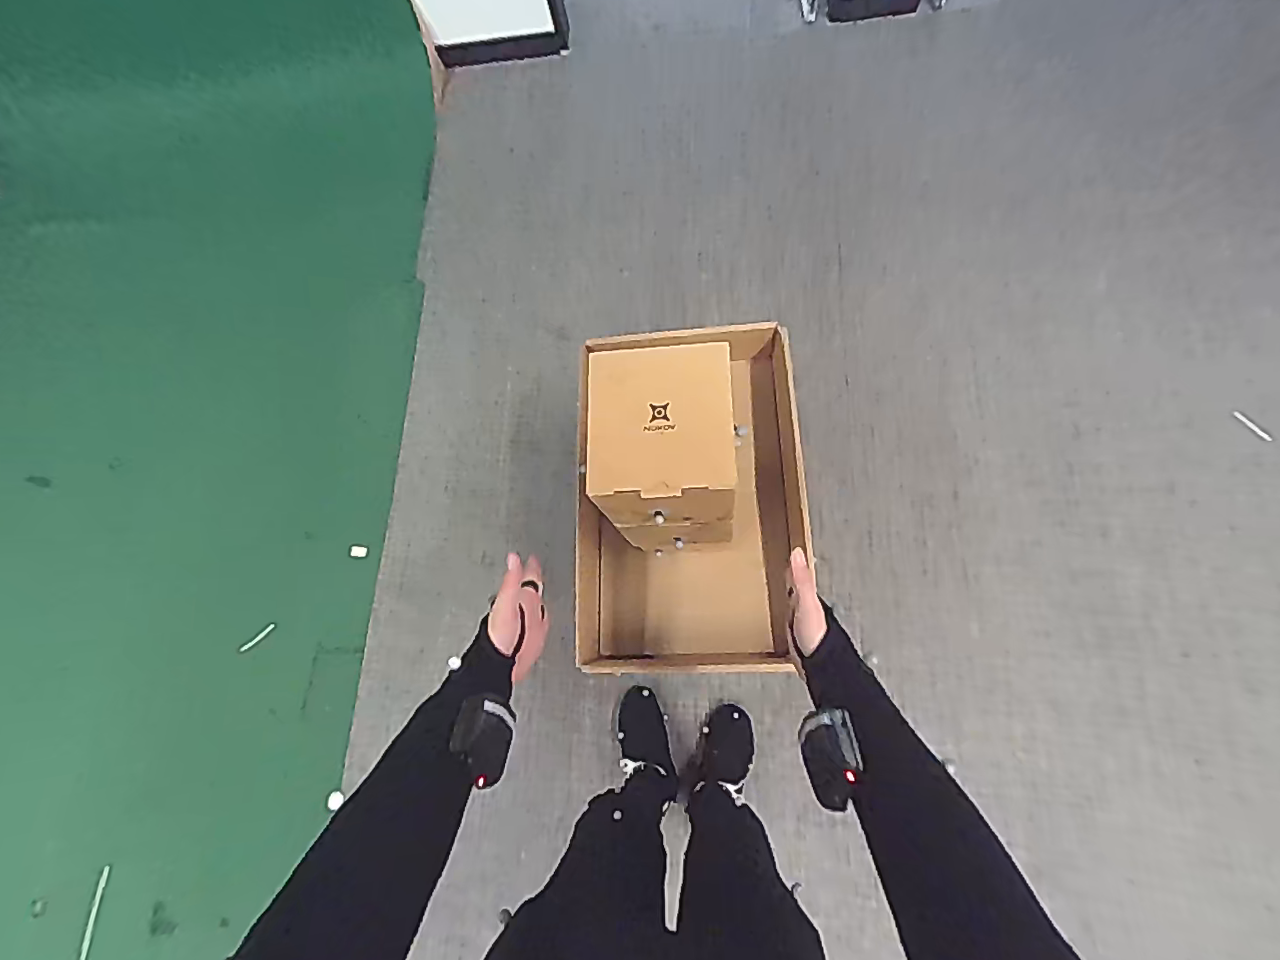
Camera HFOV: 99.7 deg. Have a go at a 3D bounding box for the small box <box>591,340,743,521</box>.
[{"bbox_3d":[0.036,-0.052,0.674,0.168,0.176,0.179,-3,75,6],"label":"small box"}]

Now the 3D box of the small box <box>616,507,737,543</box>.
[{"bbox_3d":[0.057,-0.005,0.828,0.168,0.176,0.179,-3,74,7],"label":"small box"}]
